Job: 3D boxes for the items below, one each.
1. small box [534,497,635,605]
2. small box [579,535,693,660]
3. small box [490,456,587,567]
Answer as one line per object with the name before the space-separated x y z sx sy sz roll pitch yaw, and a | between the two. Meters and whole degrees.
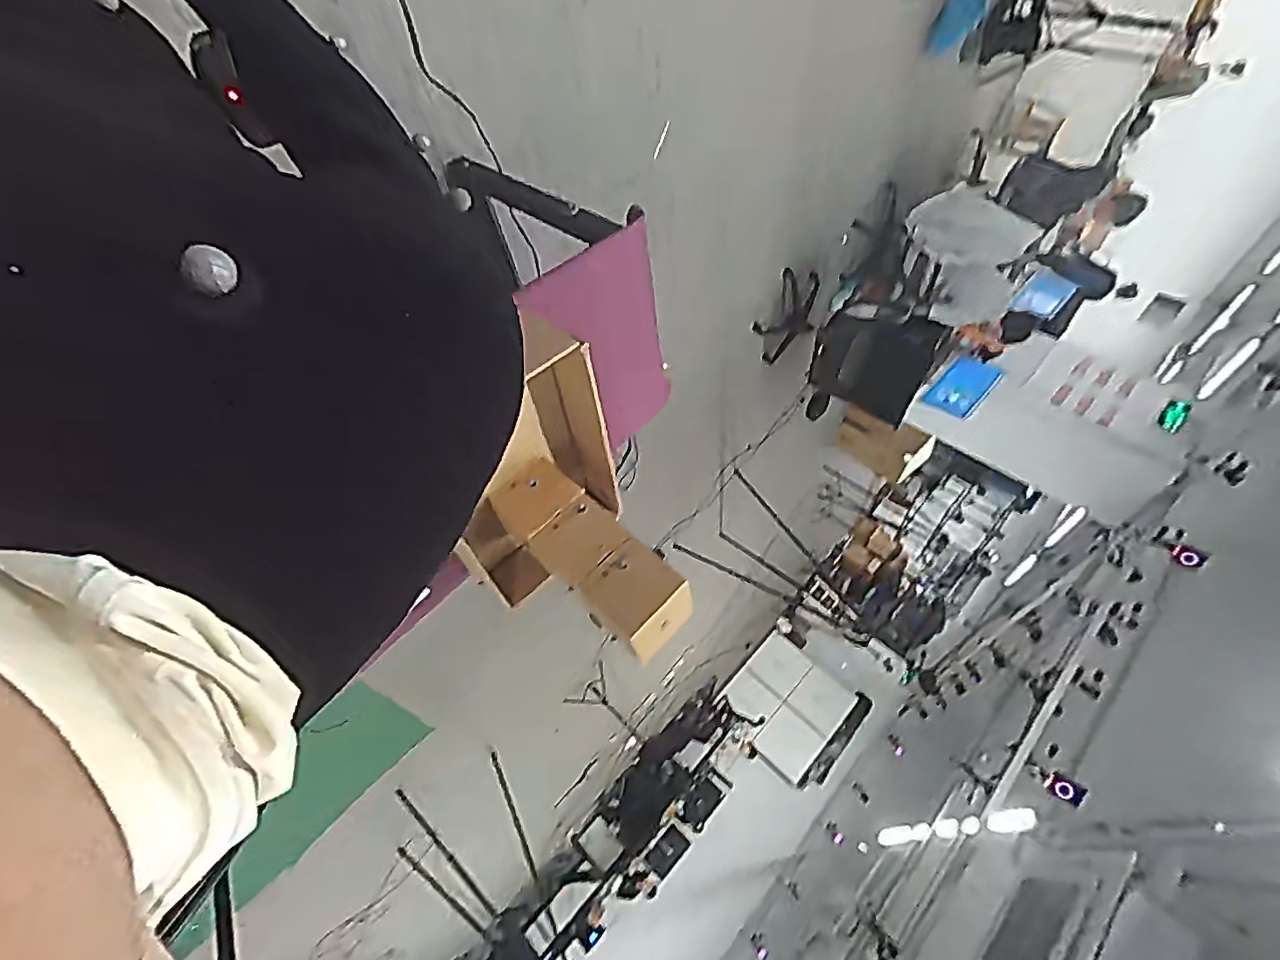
small box | -0.117 0.163 1.245 0.168 0.176 0.179 -42 149 -18
small box | -0.006 0.249 1.163 0.168 0.176 0.179 -42 148 -19
small box | -0.233 0.073 1.319 0.168 0.176 0.179 -42 148 -19
